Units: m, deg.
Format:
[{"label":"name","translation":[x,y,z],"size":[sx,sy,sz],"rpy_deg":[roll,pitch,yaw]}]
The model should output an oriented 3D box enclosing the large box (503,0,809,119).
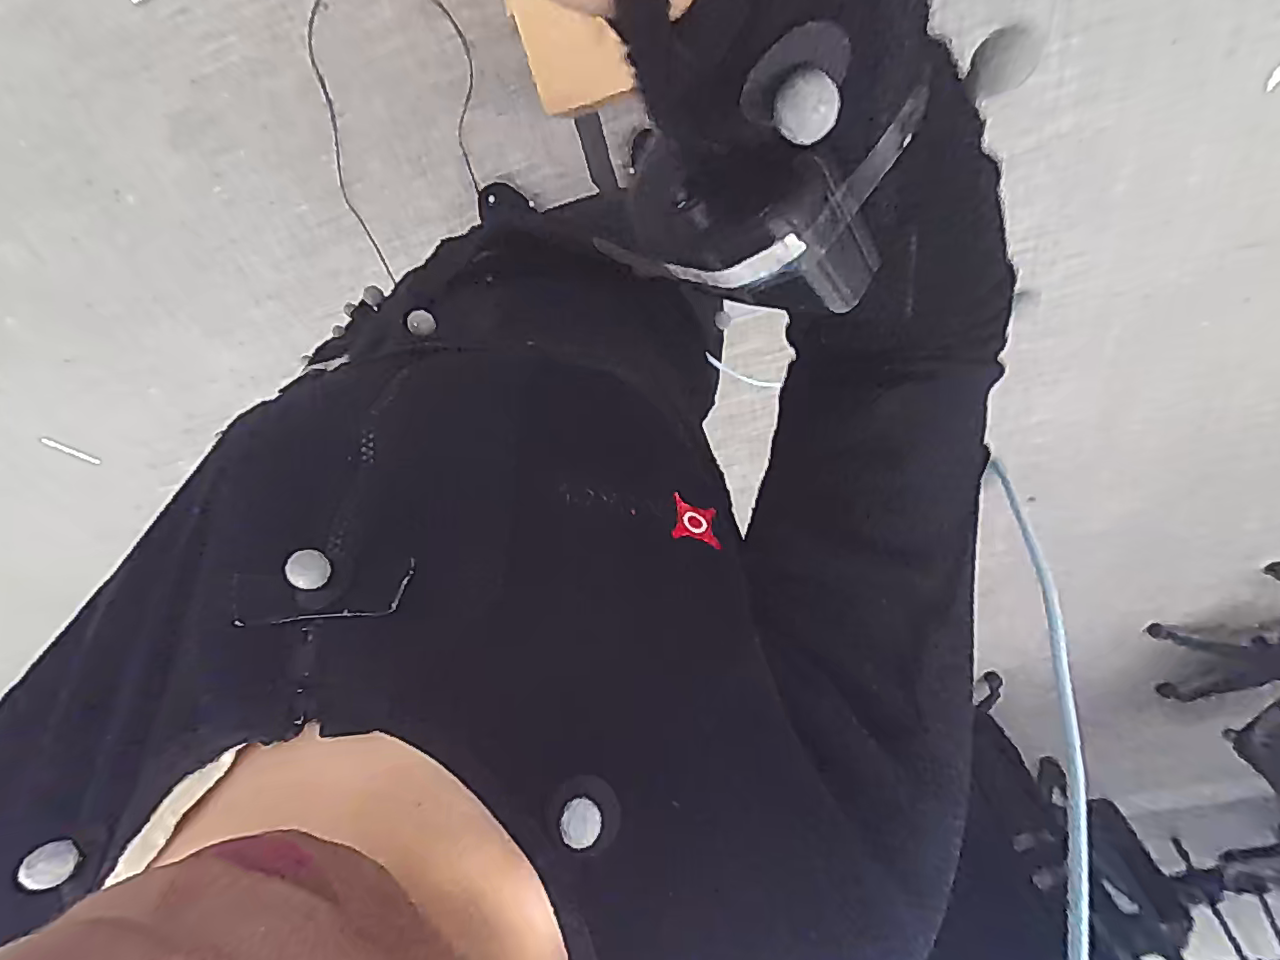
[{"label":"large box","translation":[-0.003,-0.790,0.815],"size":[0.408,0.320,0.320],"rpy_deg":[-14,123,8]}]
